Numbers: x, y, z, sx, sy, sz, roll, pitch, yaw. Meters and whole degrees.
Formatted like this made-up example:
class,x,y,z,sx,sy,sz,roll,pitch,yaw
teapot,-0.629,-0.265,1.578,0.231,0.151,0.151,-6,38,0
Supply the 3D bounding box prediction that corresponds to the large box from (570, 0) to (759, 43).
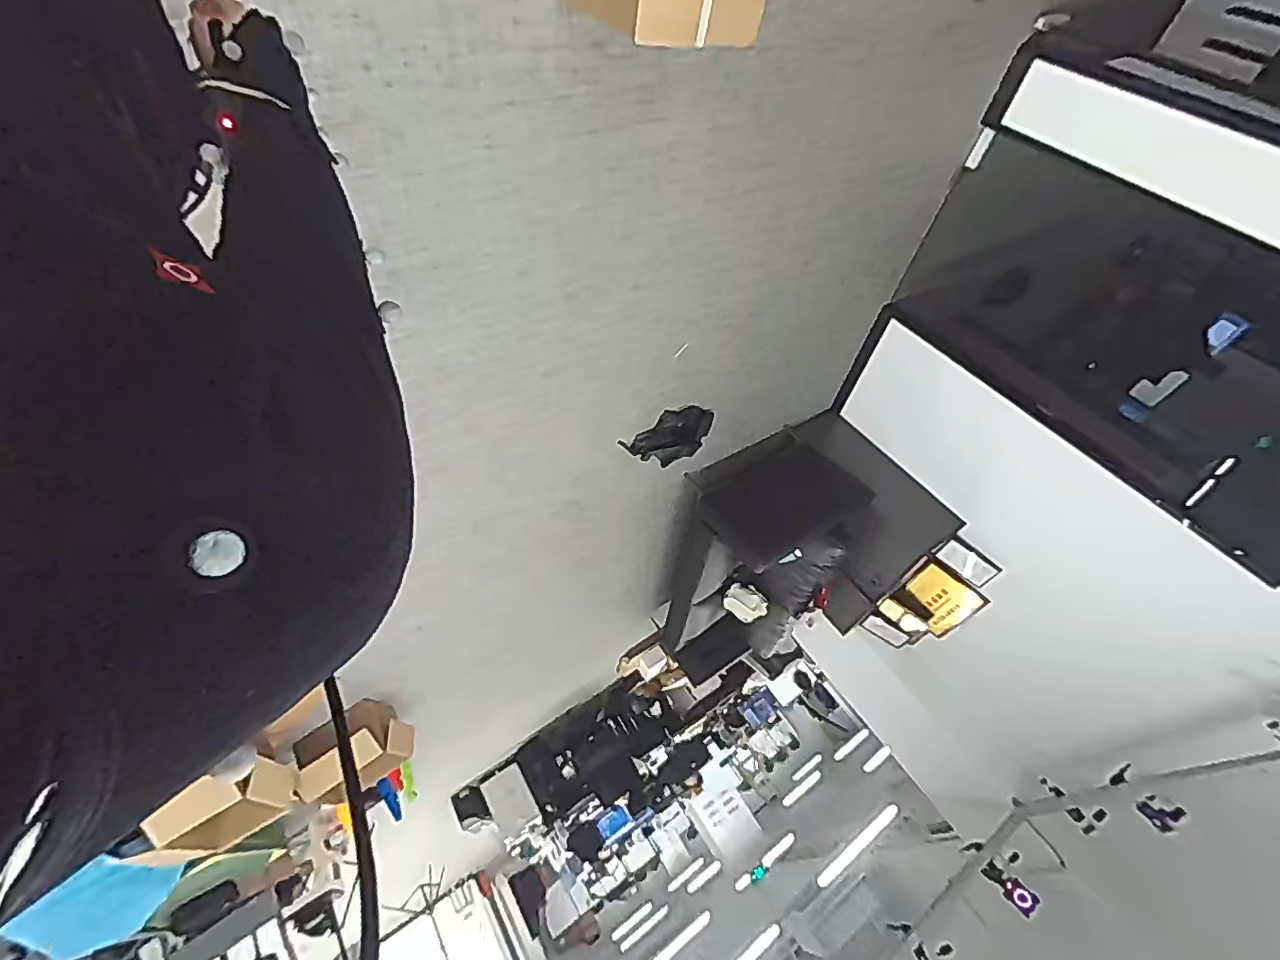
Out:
class,x,y,z,sx,sy,sz,roll,pitch,yaw
large box,0.054,-1.091,0.977,0.320,0.320,0.408,-23,150,-27
